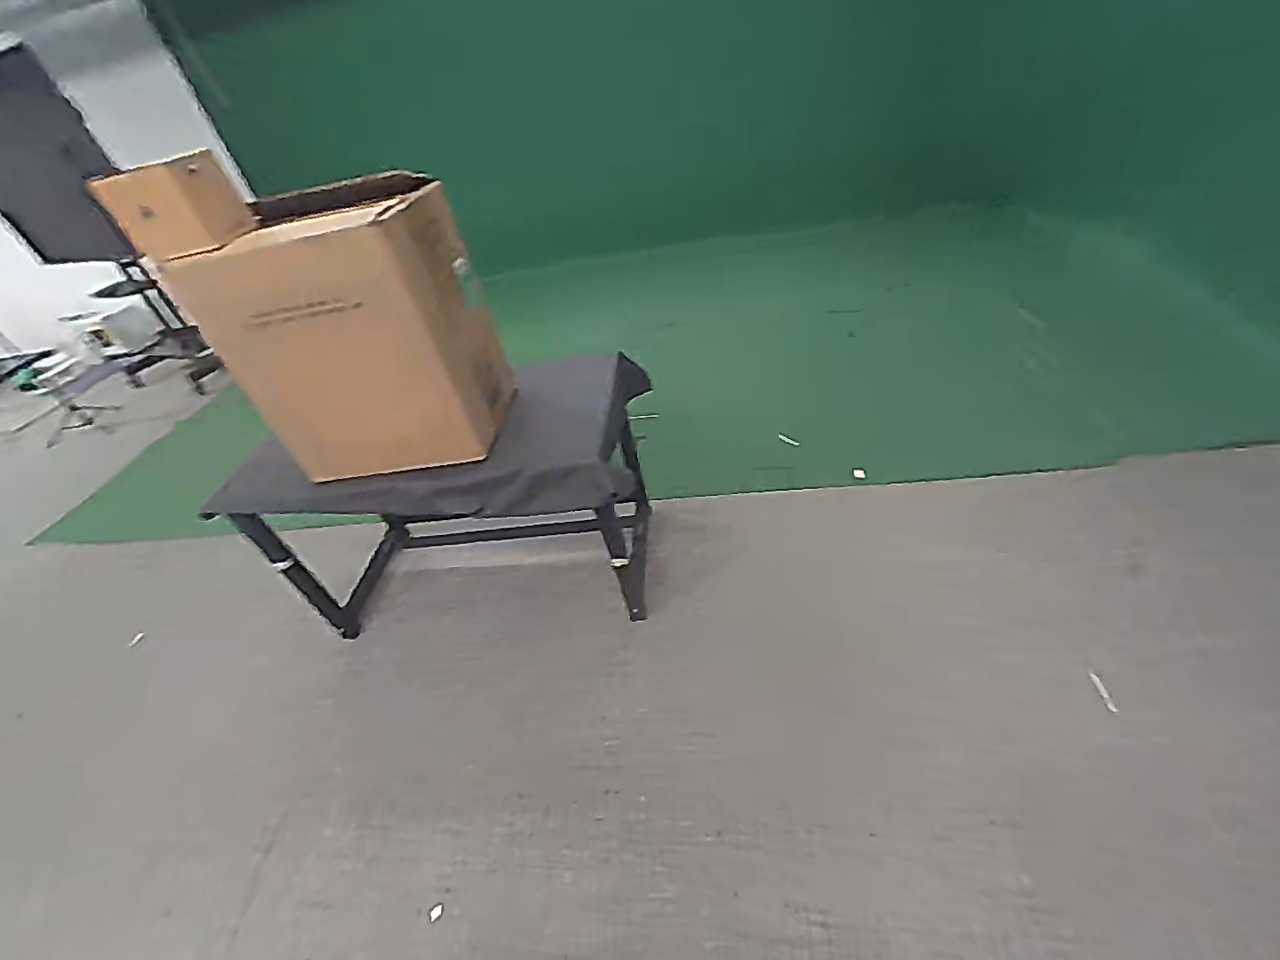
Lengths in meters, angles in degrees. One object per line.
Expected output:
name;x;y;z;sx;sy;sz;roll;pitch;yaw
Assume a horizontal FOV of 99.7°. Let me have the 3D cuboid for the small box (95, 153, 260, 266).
small box;-0.999;-0.588;1.186;0.179;0.176;0.168;-9;41;9
